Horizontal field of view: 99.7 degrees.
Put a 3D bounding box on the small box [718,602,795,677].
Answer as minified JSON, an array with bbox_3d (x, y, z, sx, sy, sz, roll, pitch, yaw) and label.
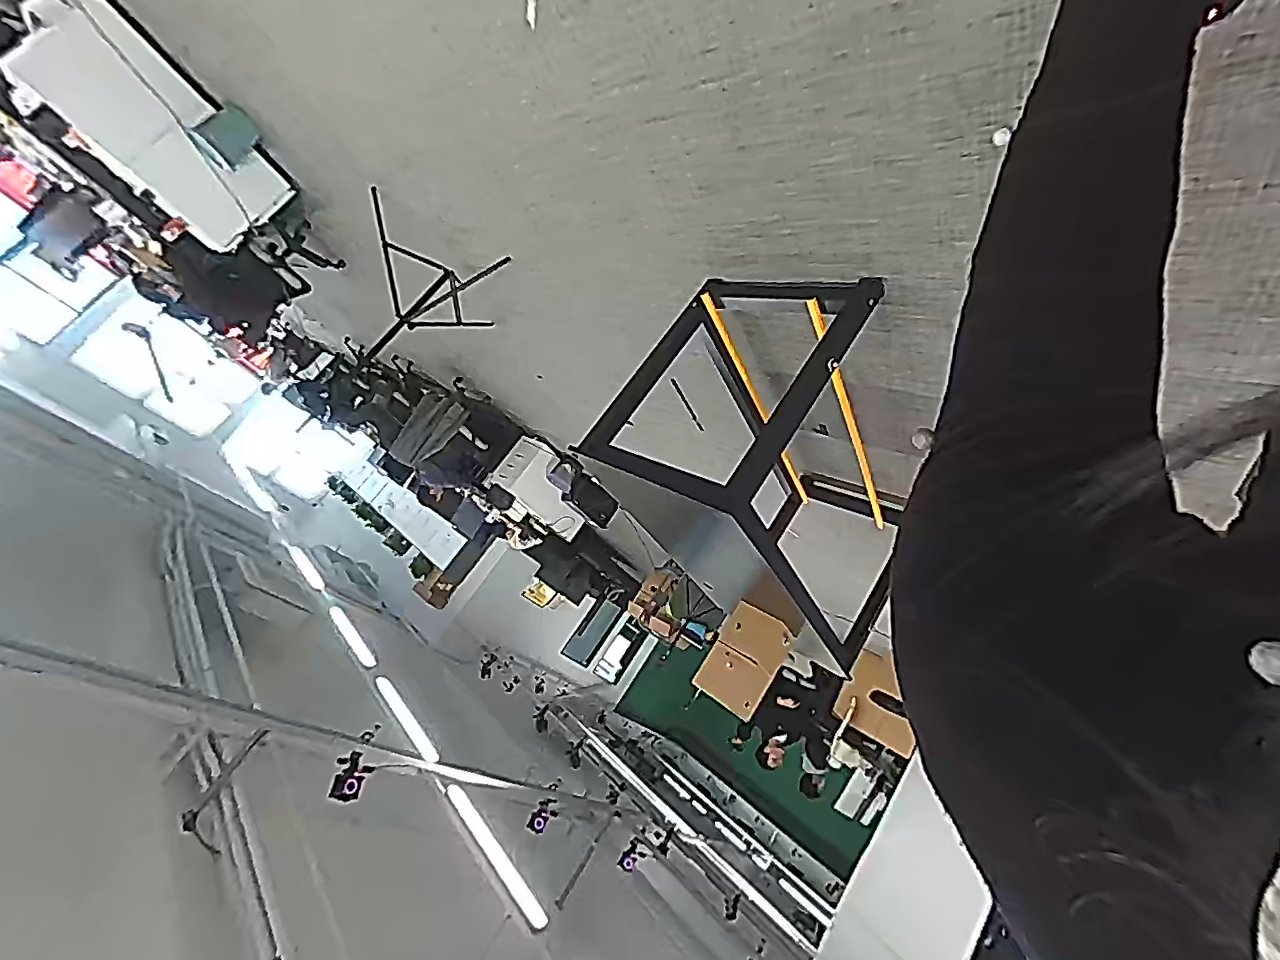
[{"bbox_3d":[0.408,0.546,1.877,0.179,0.176,0.168,21,161,43],"label":"small box"}]

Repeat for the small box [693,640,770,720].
[{"bbox_3d":[0.317,0.677,1.836,0.168,0.176,0.179,22,161,44],"label":"small box"}]
